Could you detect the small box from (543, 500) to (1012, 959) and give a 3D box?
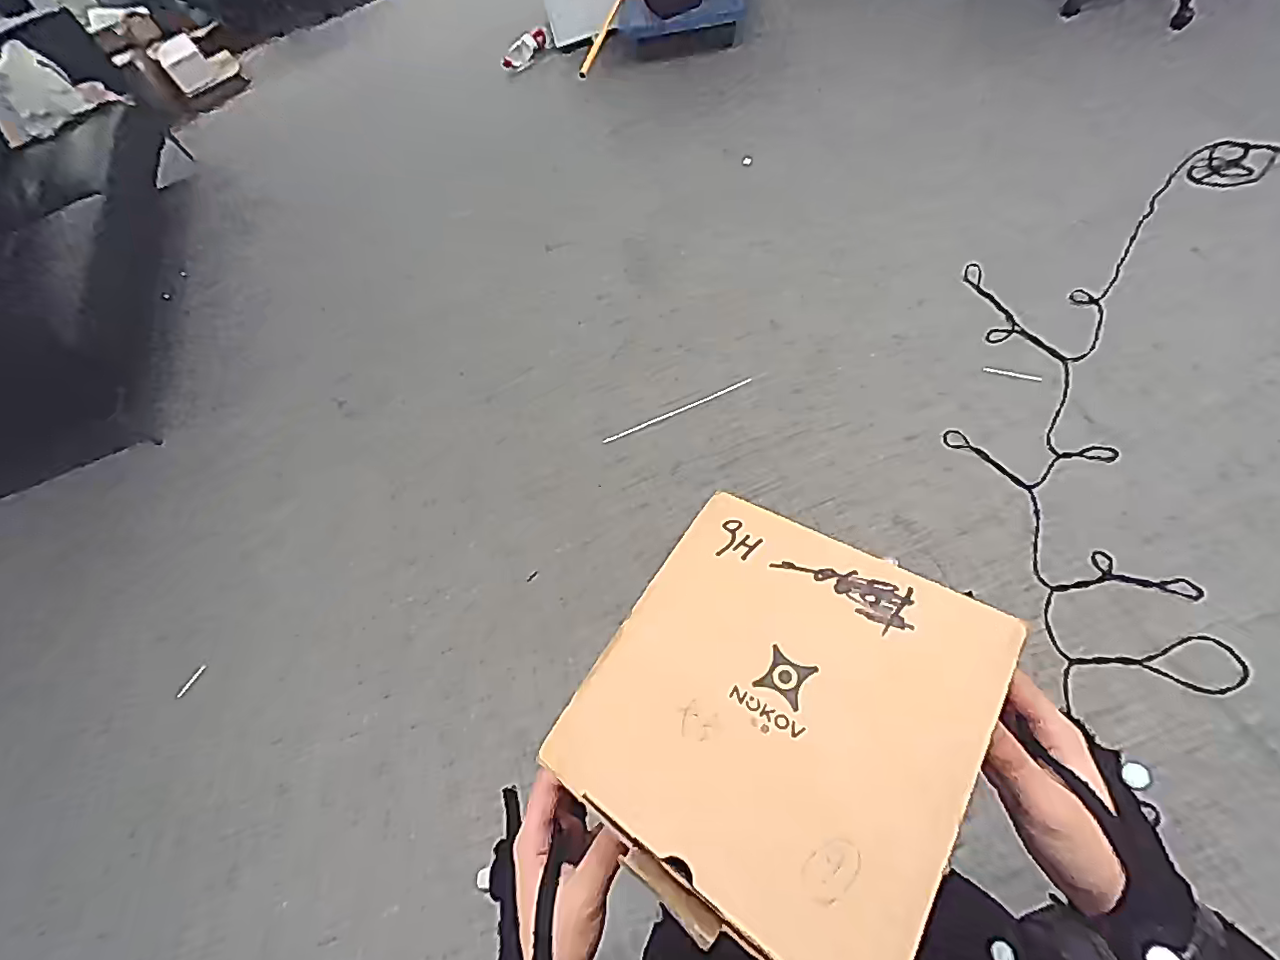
[{"bbox_3d":[0.080,0.149,0.323,0.168,0.176,0.179,25,66,29],"label":"small box"}]
